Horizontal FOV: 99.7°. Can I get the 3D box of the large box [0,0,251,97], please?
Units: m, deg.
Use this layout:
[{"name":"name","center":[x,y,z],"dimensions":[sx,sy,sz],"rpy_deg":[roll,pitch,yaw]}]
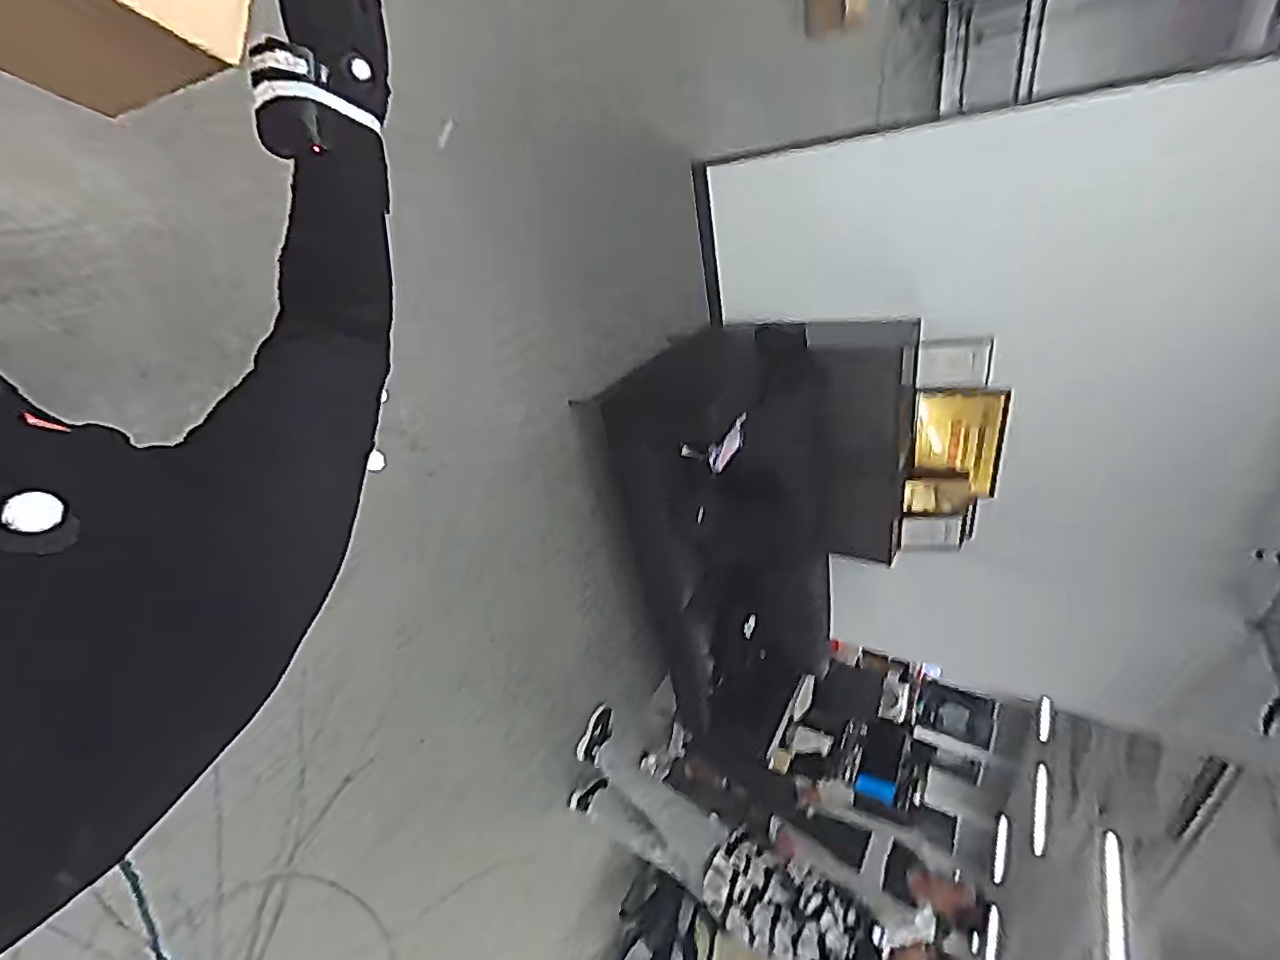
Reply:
[{"name":"large box","center":[-0.470,-0.480,0.263],"dimensions":[0.408,0.320,0.320],"rpy_deg":[2,104,-57]}]
